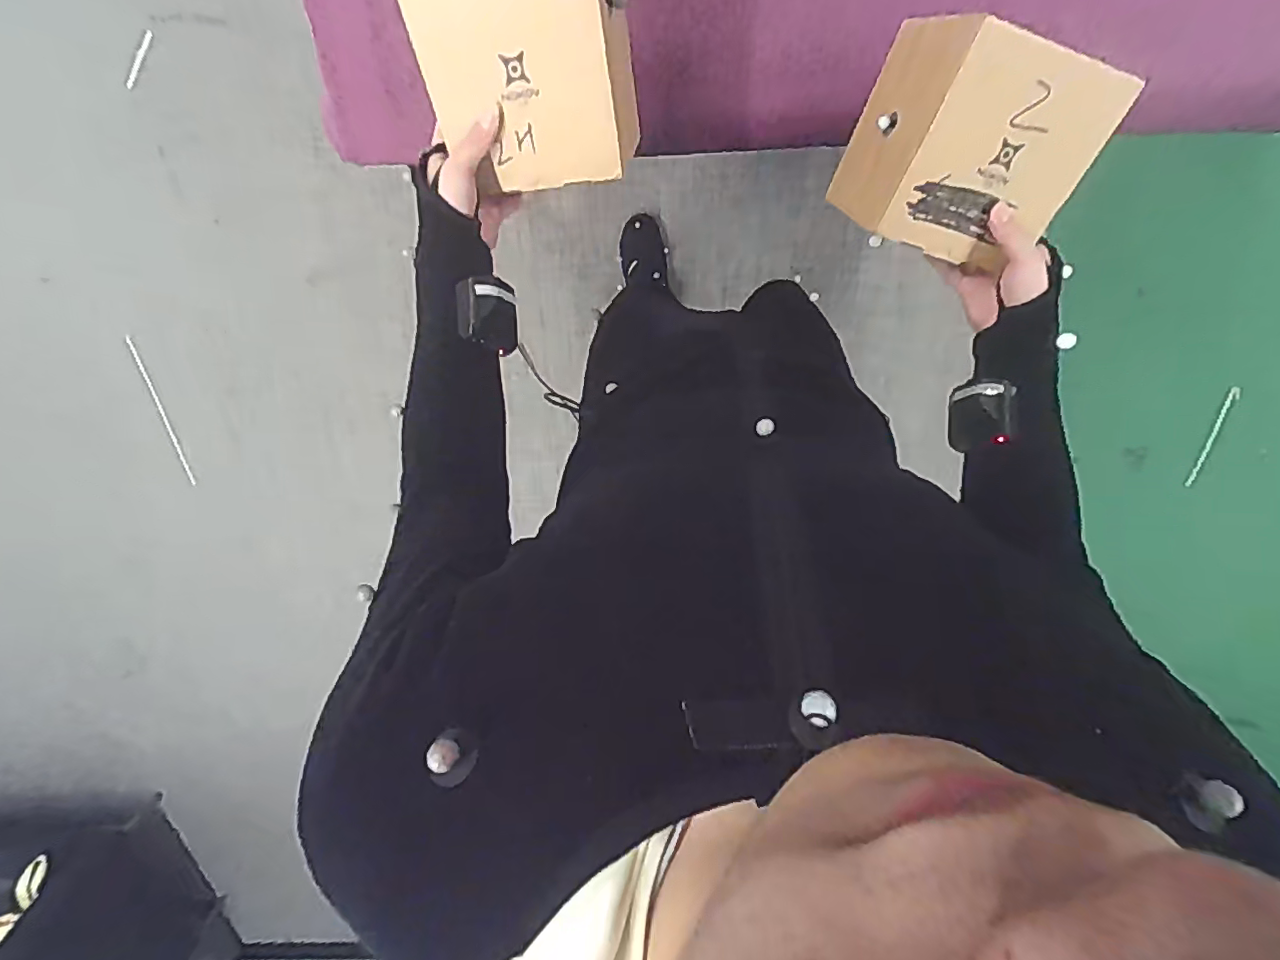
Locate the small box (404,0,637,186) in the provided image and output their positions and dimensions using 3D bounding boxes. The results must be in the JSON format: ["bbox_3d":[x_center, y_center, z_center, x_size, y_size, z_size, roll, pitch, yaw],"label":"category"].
[{"bbox_3d":[-0.098,-0.405,0.515,0.168,0.176,0.179,-1,134,8],"label":"small box"}]

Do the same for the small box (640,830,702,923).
[{"bbox_3d":[0.088,1.187,1.627,0.168,0.176,0.179,5,117,-1],"label":"small box"}]
